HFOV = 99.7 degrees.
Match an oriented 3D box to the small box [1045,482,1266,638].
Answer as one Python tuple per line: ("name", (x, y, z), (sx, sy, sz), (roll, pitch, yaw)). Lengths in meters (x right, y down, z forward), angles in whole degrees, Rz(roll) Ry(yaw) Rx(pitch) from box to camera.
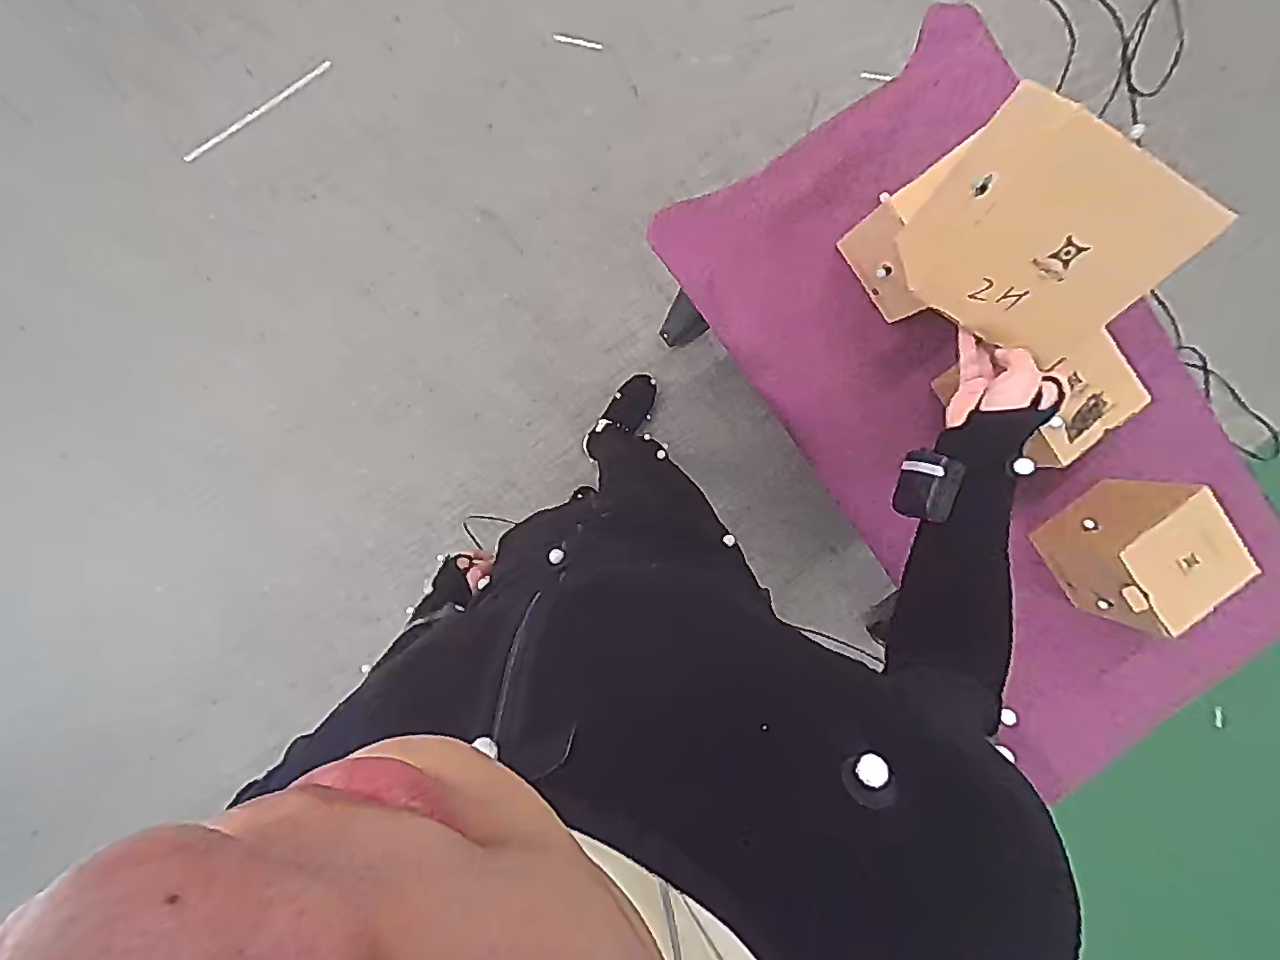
("small box", (0.809, 0.118, 0.874), (0.179, 0.176, 0.168), (-36, 95, -1))

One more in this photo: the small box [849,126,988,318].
("small box", (0.448, -0.373, 0.822), (0.179, 0.176, 0.168), (-37, 95, 0))

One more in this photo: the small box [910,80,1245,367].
("small box", (0.395, -0.254, 0.533), (0.168, 0.176, 0.179), (28, 135, -7))

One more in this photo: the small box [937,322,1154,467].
("small box", (0.619, -0.138, 0.847), (0.168, 0.176, 0.179), (-37, 94, -1))
